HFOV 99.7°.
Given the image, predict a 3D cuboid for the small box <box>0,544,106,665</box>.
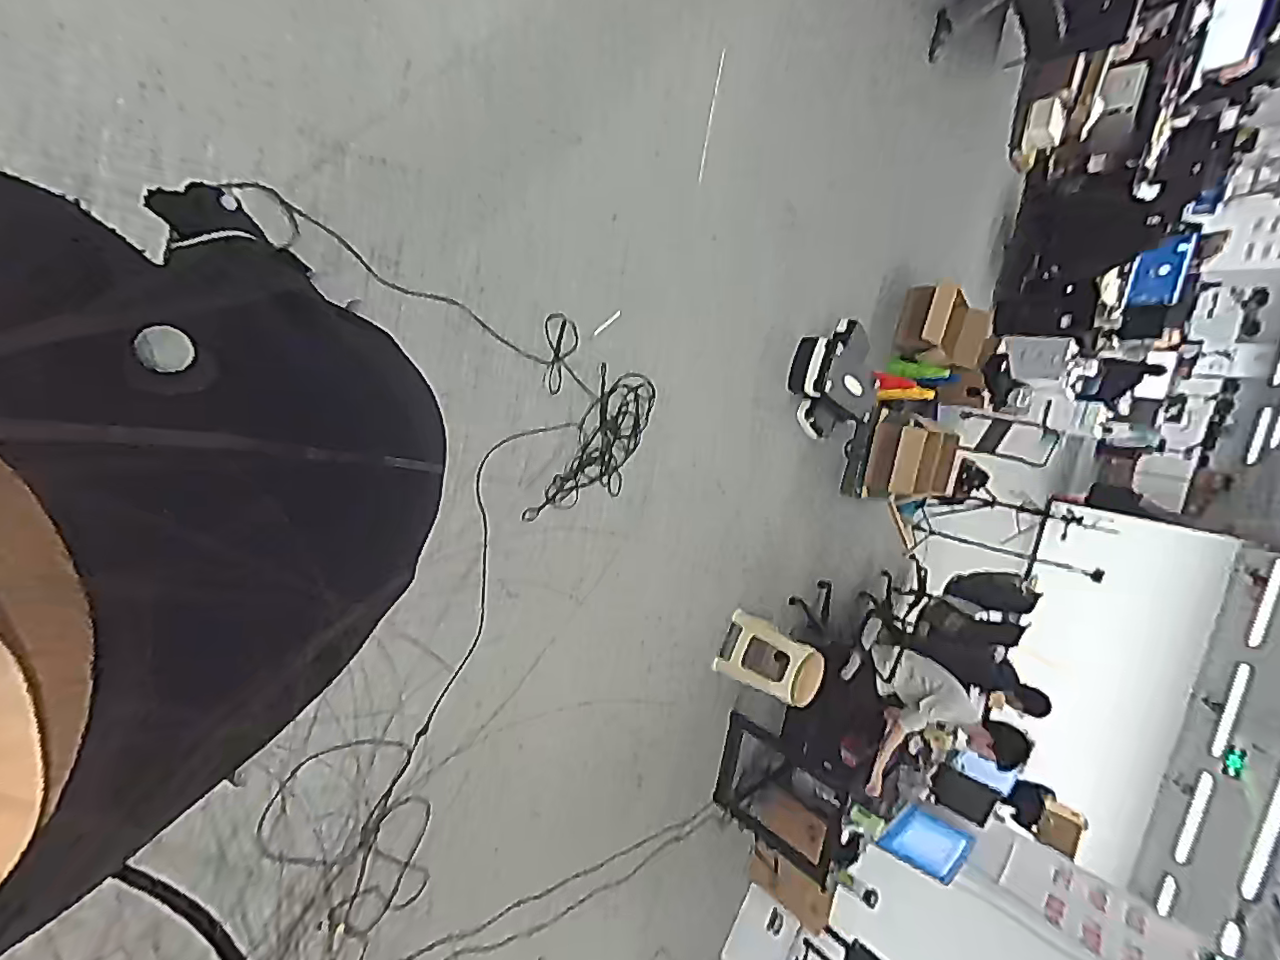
[{"bbox_3d":[-1.118,0.221,1.003,0.168,0.176,0.179,6,98,-46],"label":"small box"}]
